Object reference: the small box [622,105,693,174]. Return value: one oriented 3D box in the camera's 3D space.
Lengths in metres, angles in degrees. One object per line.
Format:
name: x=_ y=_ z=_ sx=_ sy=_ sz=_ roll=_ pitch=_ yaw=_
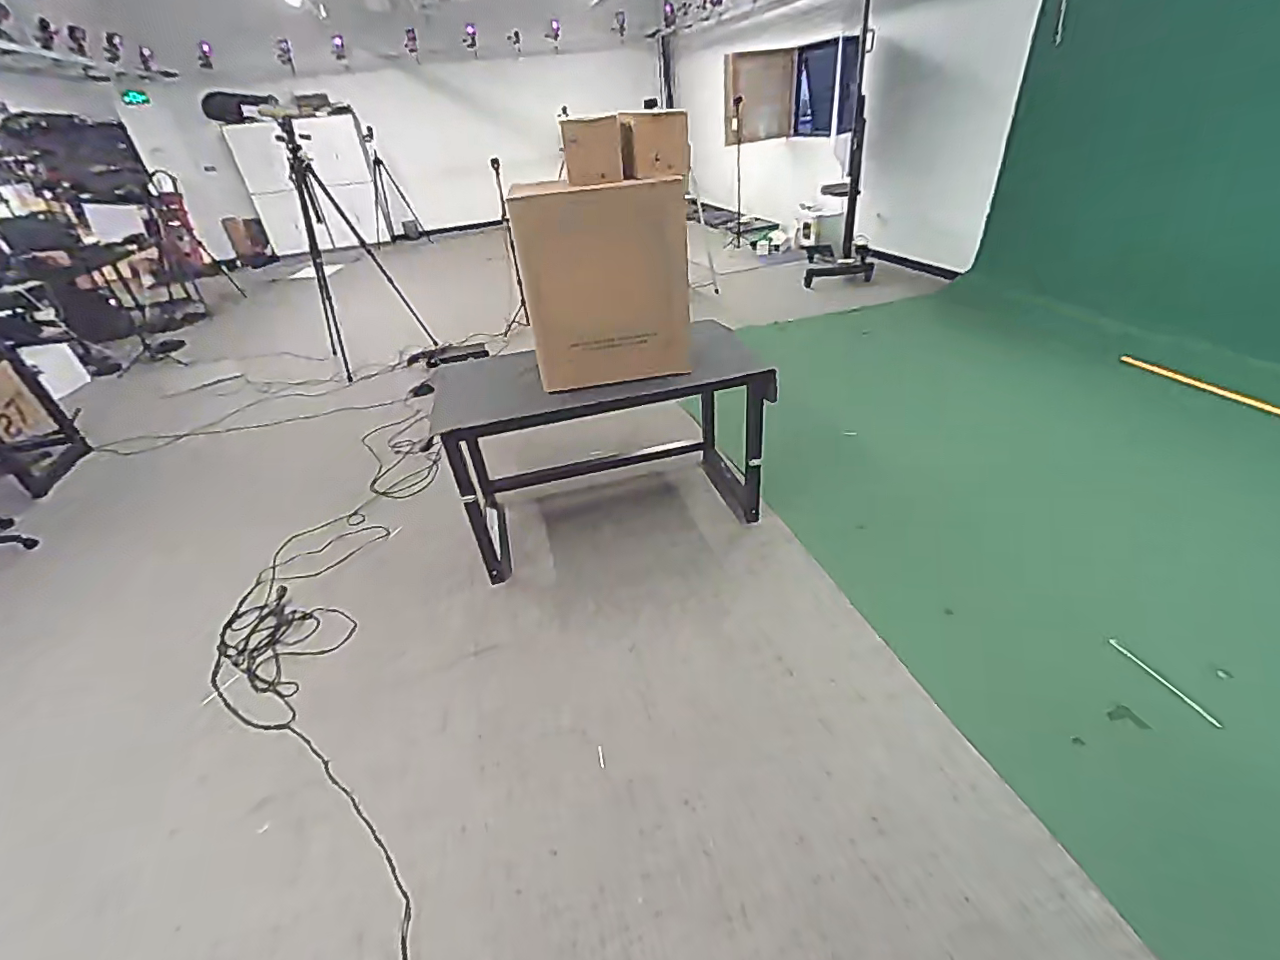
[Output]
small box: x=0.049 y=-1.032 z=1.637 sx=0.168 sy=0.176 sz=0.179 roll=-12 pitch=38 yaw=-14
